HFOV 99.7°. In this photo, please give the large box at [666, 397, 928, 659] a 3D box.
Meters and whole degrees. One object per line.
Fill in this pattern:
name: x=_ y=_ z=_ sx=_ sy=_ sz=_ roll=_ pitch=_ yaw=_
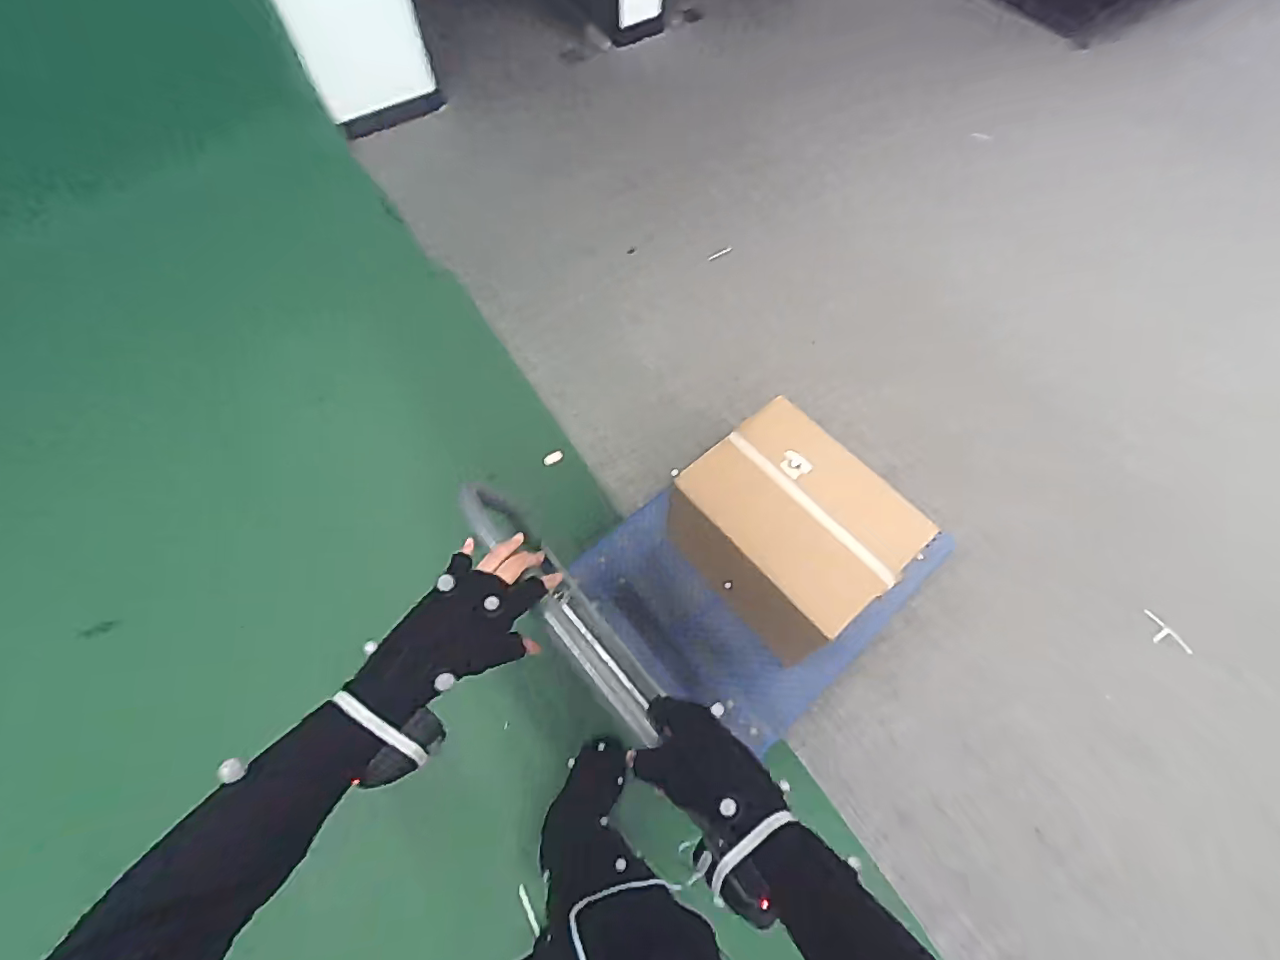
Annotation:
large box: x=0.302 y=0.110 z=1.166 sx=0.320 sy=0.320 sz=0.408 roll=-37 pitch=68 yaw=-18
